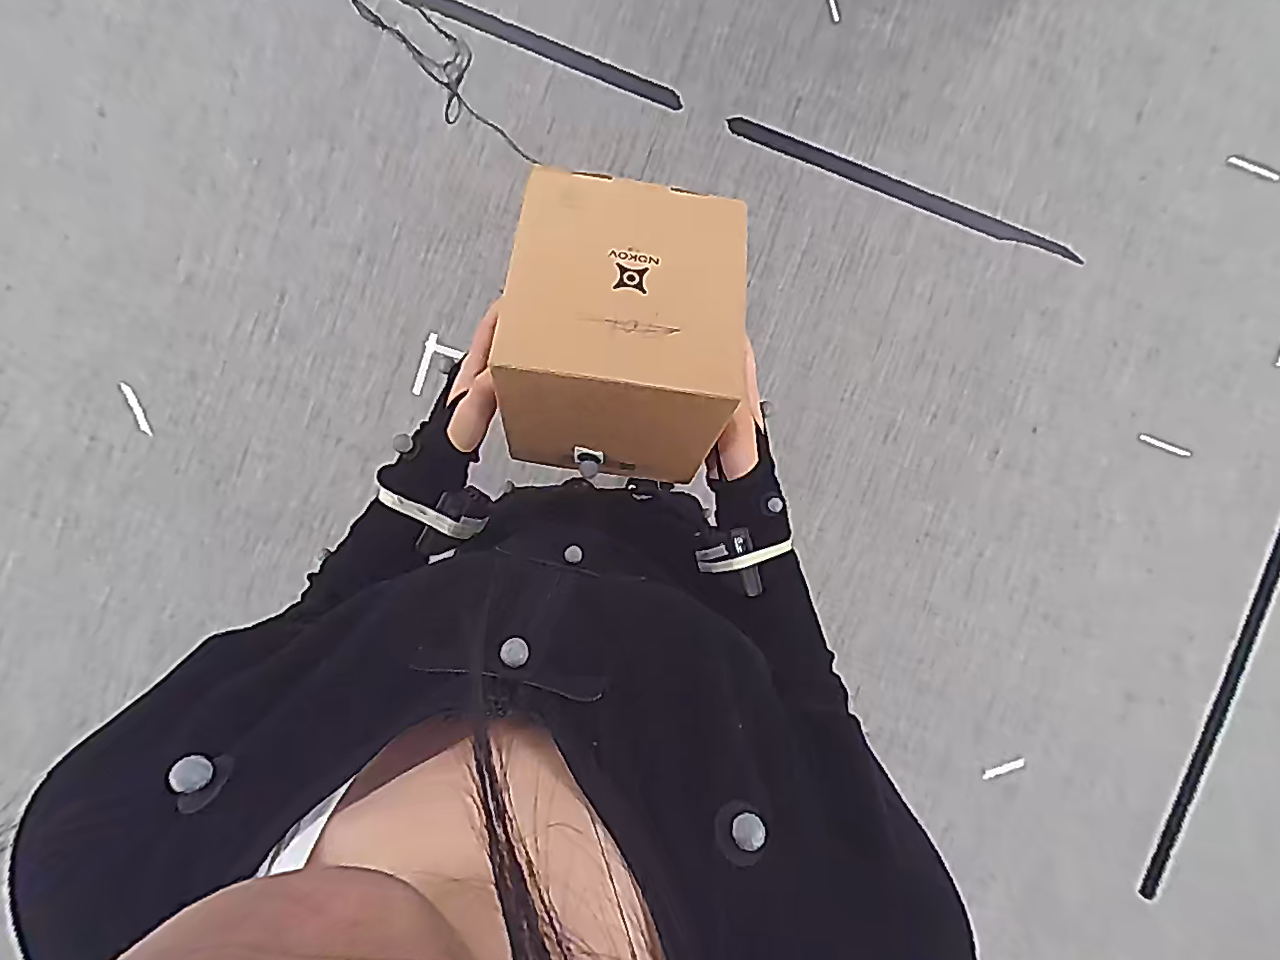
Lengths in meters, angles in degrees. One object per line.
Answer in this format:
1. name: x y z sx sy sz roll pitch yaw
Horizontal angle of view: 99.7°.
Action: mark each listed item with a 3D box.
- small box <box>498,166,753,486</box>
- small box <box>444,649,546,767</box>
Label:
1. small box: -0.013 -0.112 0.447 0.168 0.176 0.179 7 69 -5
2. small box: -0.326 0.517 1.255 0.168 0.176 0.179 19 92 -2
